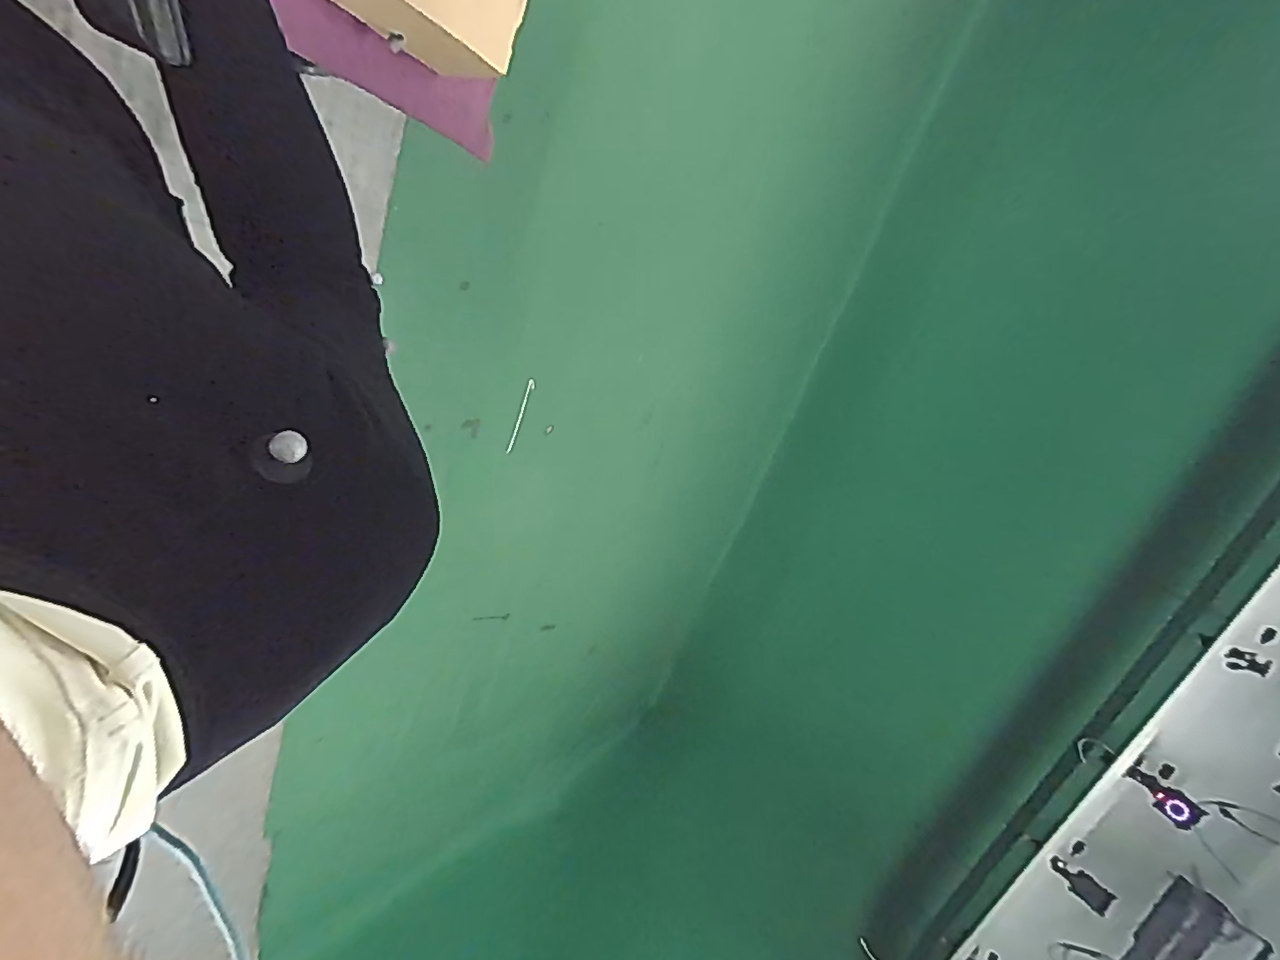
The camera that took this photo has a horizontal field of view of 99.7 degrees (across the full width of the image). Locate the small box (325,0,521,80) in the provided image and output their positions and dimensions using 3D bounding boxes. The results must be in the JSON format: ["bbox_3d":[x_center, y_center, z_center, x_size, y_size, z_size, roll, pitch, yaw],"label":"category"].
[{"bbox_3d":[-0.261,-0.623,0.650,0.179,0.176,0.168,2,114,-53],"label":"small box"}]
